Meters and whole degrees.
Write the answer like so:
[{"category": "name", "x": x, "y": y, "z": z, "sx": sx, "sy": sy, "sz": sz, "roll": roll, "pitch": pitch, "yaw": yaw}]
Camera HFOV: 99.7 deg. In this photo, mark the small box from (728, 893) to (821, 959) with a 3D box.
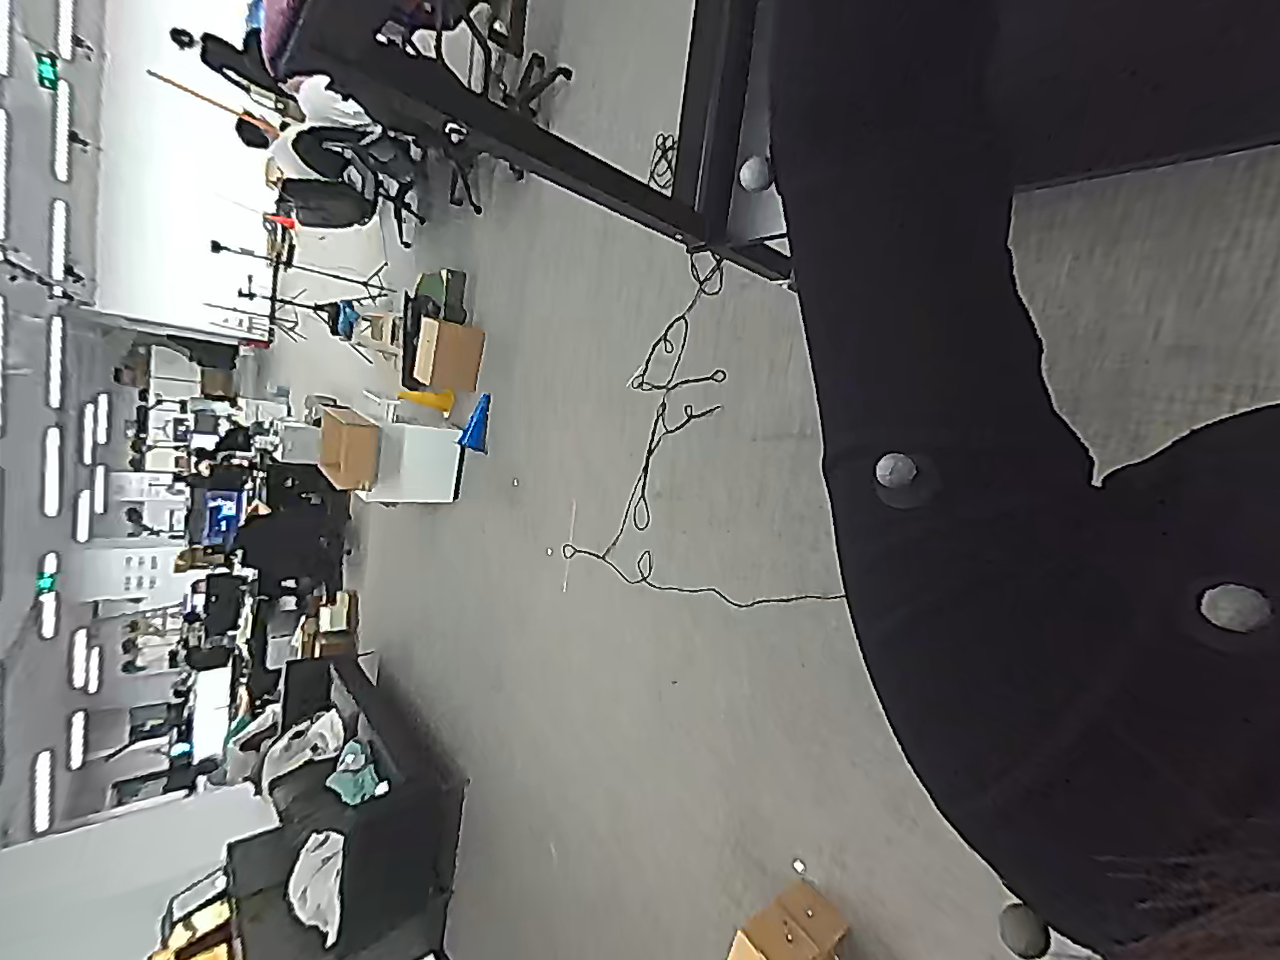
[{"category": "small box", "x": 0.375, "y": 1.314, "z": 1.502, "sx": 0.168, "sy": 0.176, "sz": 0.179, "roll": 27, "pitch": 108, "yaw": 46}]
